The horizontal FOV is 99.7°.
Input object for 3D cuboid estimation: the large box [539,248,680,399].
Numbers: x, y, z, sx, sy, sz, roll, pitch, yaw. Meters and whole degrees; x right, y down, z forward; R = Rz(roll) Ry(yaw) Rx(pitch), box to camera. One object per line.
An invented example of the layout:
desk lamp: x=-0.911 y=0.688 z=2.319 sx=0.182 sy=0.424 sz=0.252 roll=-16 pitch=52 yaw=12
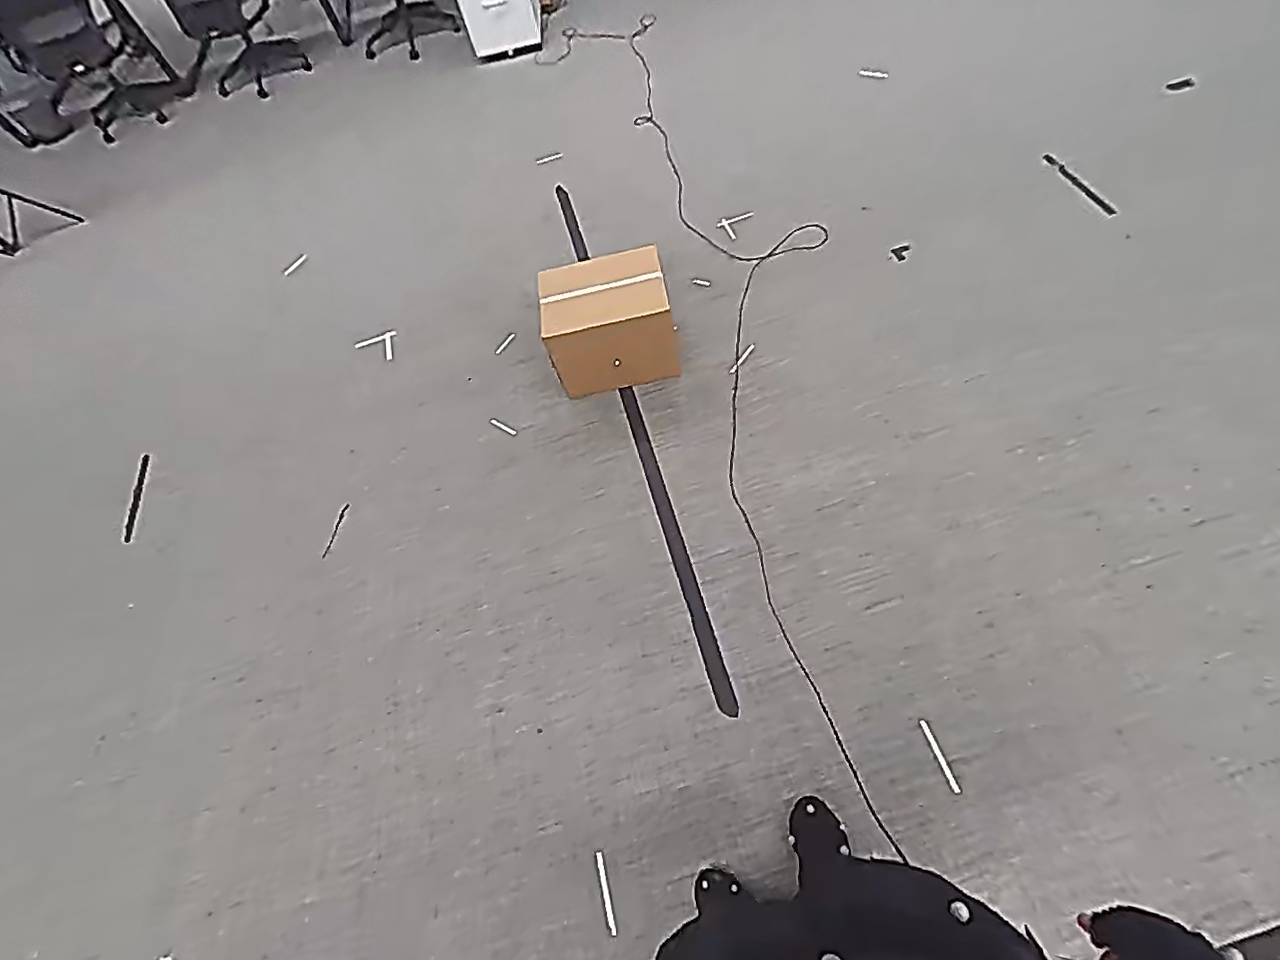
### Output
large box: x=-0.098 y=-0.519 z=1.837 sx=0.408 sy=0.320 sz=0.320 roll=-12 pitch=60 yaw=4
